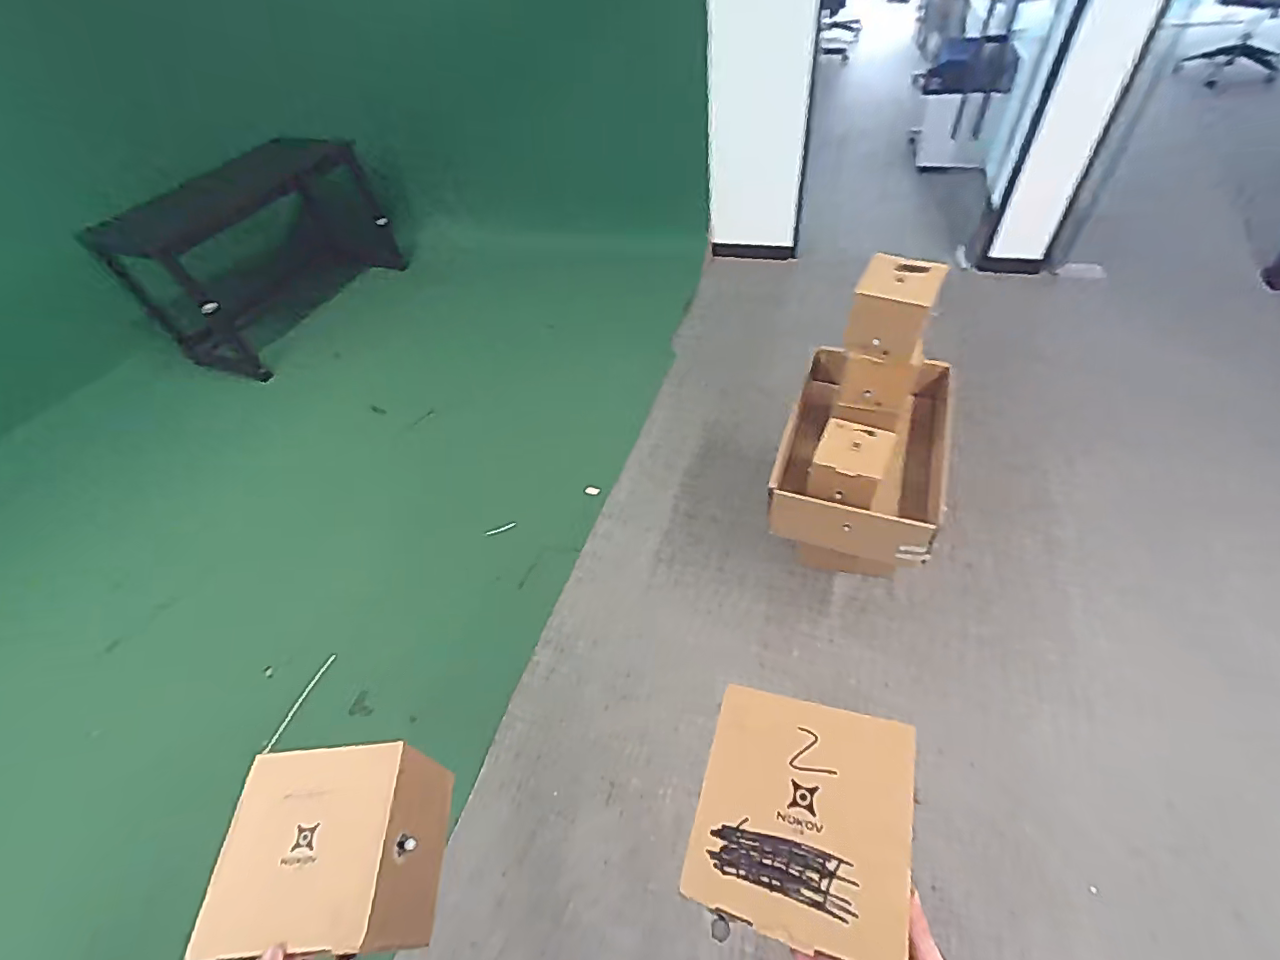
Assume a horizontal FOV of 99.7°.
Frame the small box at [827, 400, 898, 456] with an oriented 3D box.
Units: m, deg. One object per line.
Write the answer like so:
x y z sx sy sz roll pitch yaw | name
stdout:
0.642 -0.198 1.556 0.168 0.176 0.179 12 54 19 | small box

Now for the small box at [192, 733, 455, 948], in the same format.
-0.321 0.398 0.599 0.168 0.176 0.179 -4 49 2 | small box

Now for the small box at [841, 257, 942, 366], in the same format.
0.601 -0.407 1.309 0.168 0.176 0.179 21 57 23 | small box

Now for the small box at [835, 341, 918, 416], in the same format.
0.623 -0.299 1.431 0.168 0.176 0.179 12 54 17 | small box
